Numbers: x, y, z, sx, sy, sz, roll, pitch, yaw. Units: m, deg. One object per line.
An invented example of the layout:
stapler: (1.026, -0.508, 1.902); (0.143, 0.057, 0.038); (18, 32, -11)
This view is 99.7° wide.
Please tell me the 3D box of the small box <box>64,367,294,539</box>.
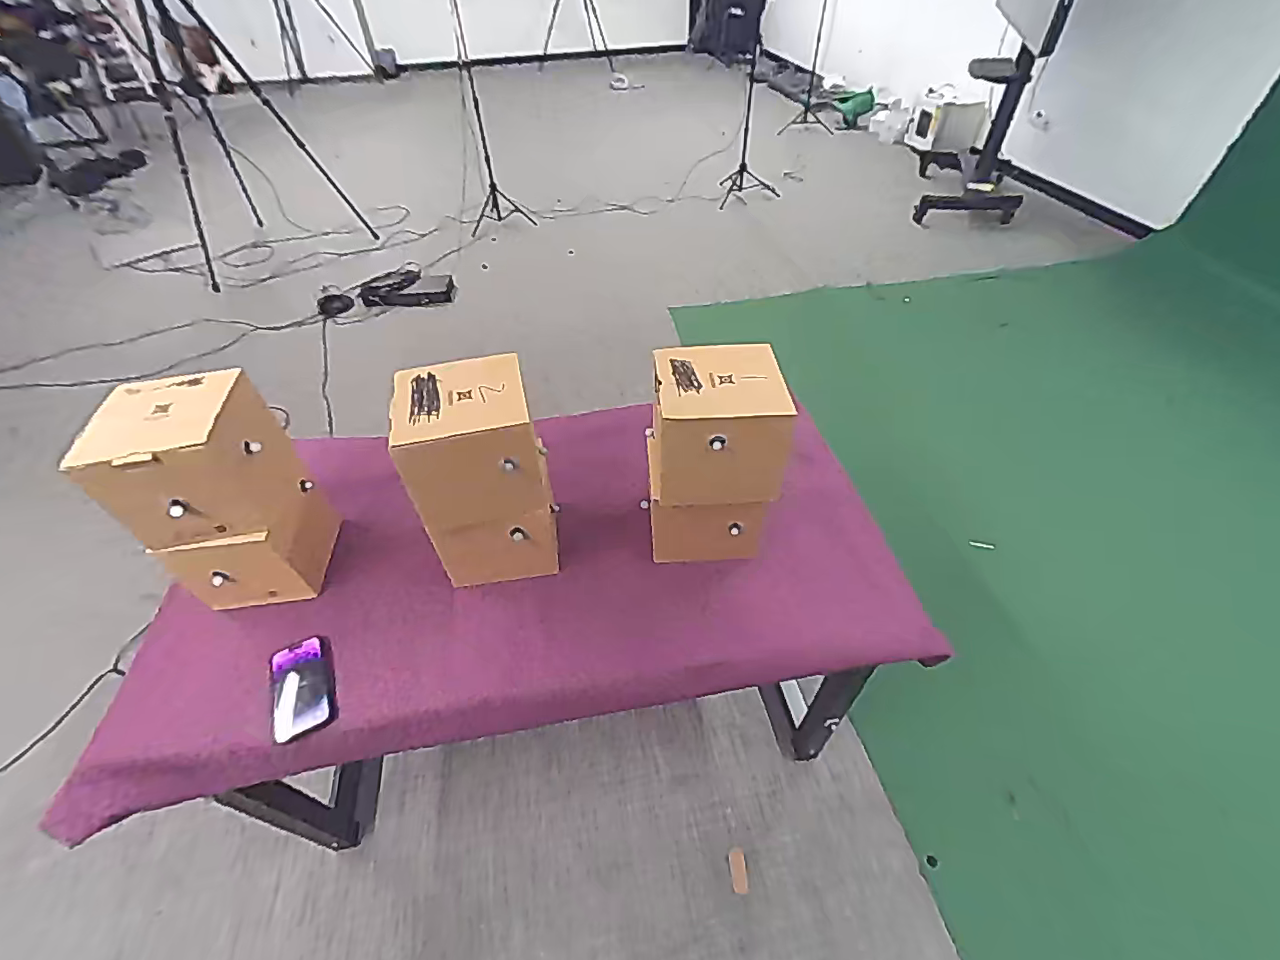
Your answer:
small box: (-0.630, -0.033, 0.773); (0.168, 0.176, 0.179); (-11, 48, -8)

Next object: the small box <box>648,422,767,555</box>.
small box: (0.105, 0.013, 0.919); (0.179, 0.176, 0.168); (-4, 46, 1)

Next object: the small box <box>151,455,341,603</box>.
small box: (-0.623, 0.086, 0.886); (0.168, 0.176, 0.179); (-7, 46, -4)

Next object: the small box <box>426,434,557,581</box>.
small box: (-0.234, 0.047, 0.901); (0.179, 0.176, 0.168); (-8, 47, -4)

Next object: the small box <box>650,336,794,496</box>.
small box: (0.109, -0.090, 0.791); (0.179, 0.176, 0.168); (-3, 46, -1)
